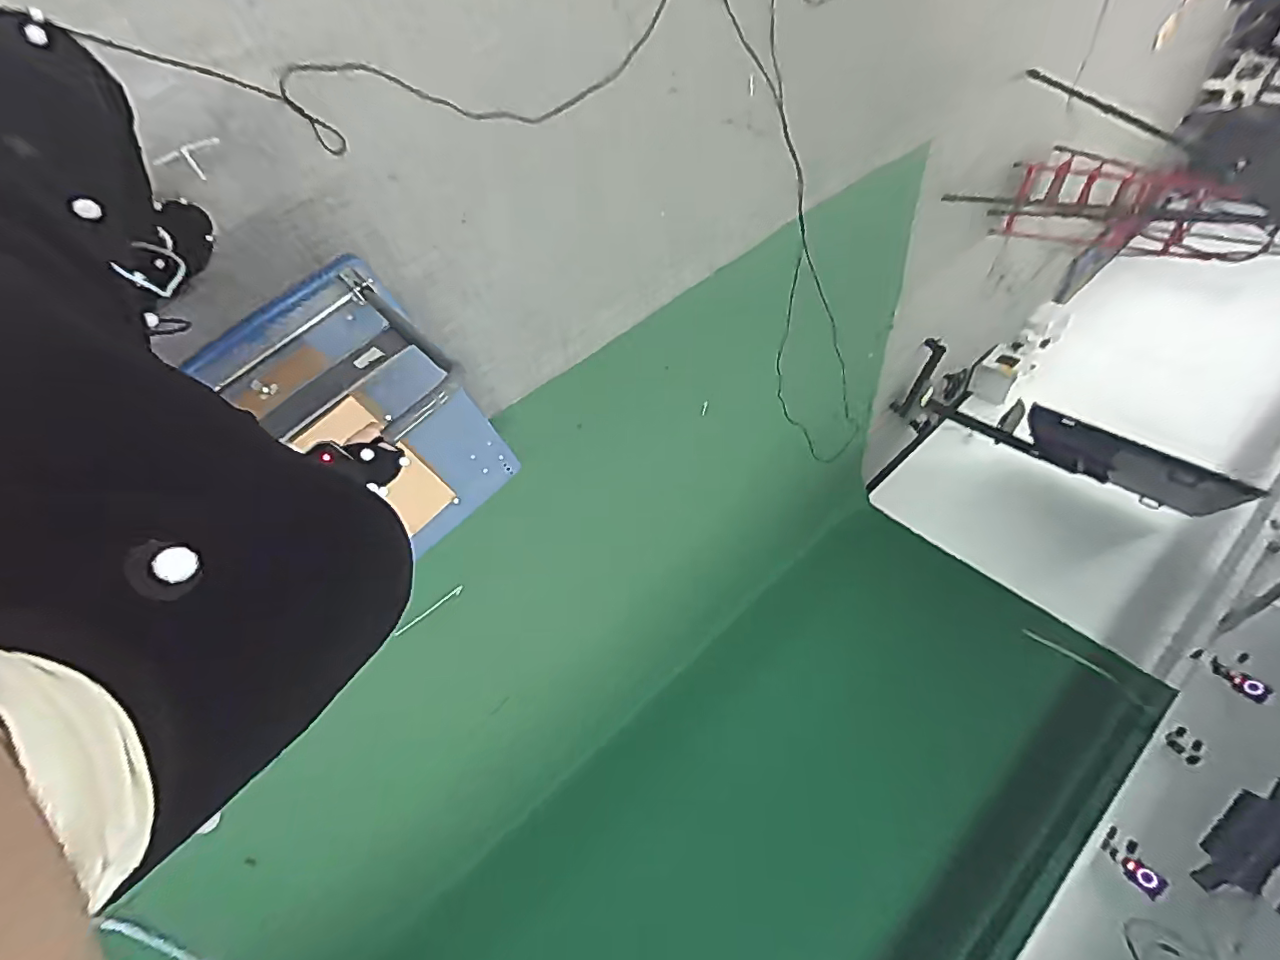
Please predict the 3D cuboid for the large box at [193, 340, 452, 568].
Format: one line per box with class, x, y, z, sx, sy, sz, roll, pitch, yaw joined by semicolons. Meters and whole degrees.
large box;-0.753;-0.057;1.317;0.320;0.320;0.408;-43;145;-12
